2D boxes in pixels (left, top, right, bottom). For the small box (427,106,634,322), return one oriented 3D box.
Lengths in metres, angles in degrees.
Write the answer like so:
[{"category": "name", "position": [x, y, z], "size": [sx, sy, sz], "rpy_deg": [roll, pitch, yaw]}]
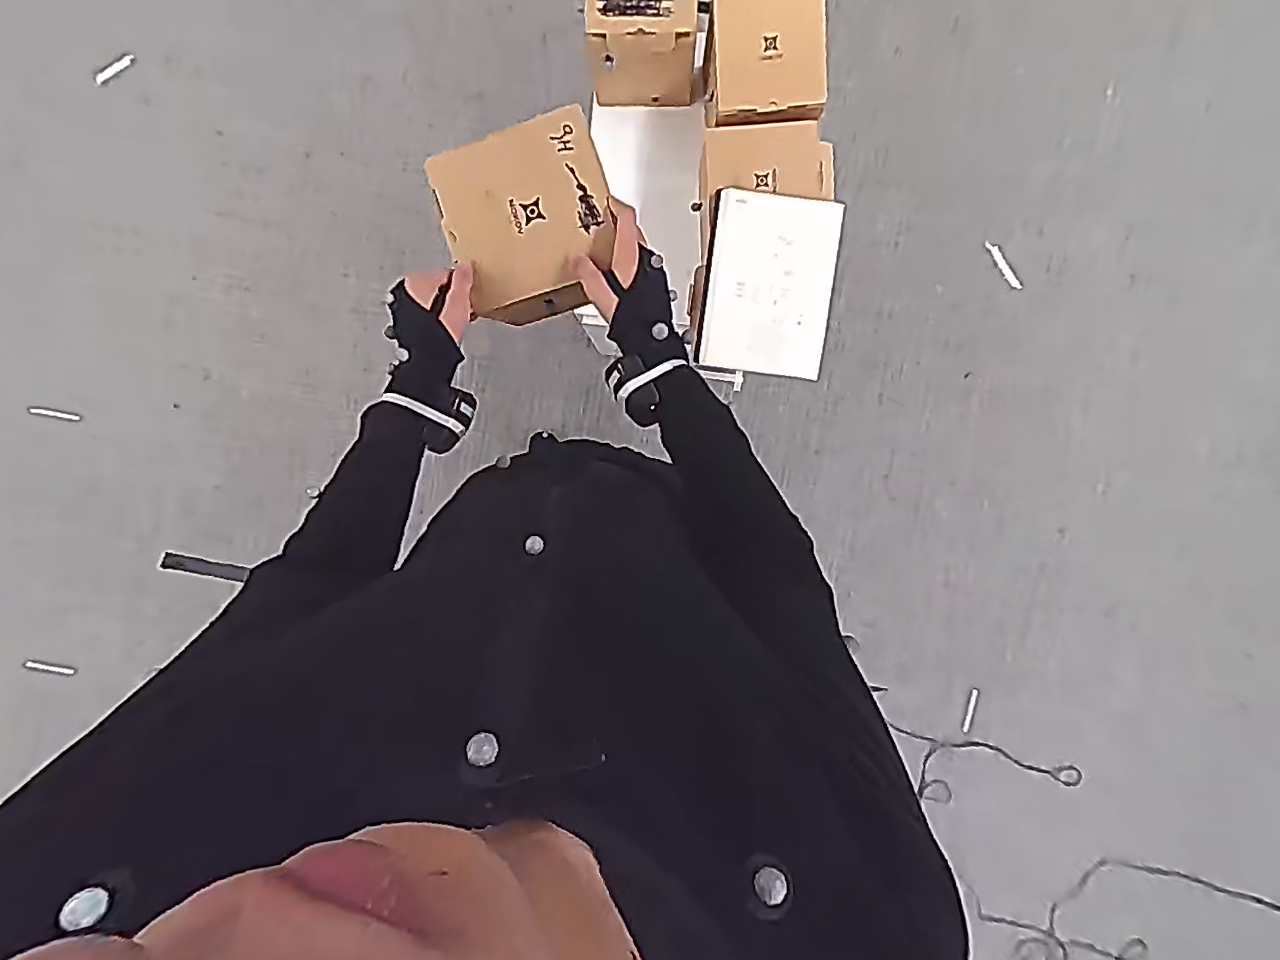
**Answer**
[{"category": "small box", "position": [-0.115, -0.296, 0.646], "size": [0.179, 0.176, 0.168], "rpy_deg": [-15, 101, 6]}]
